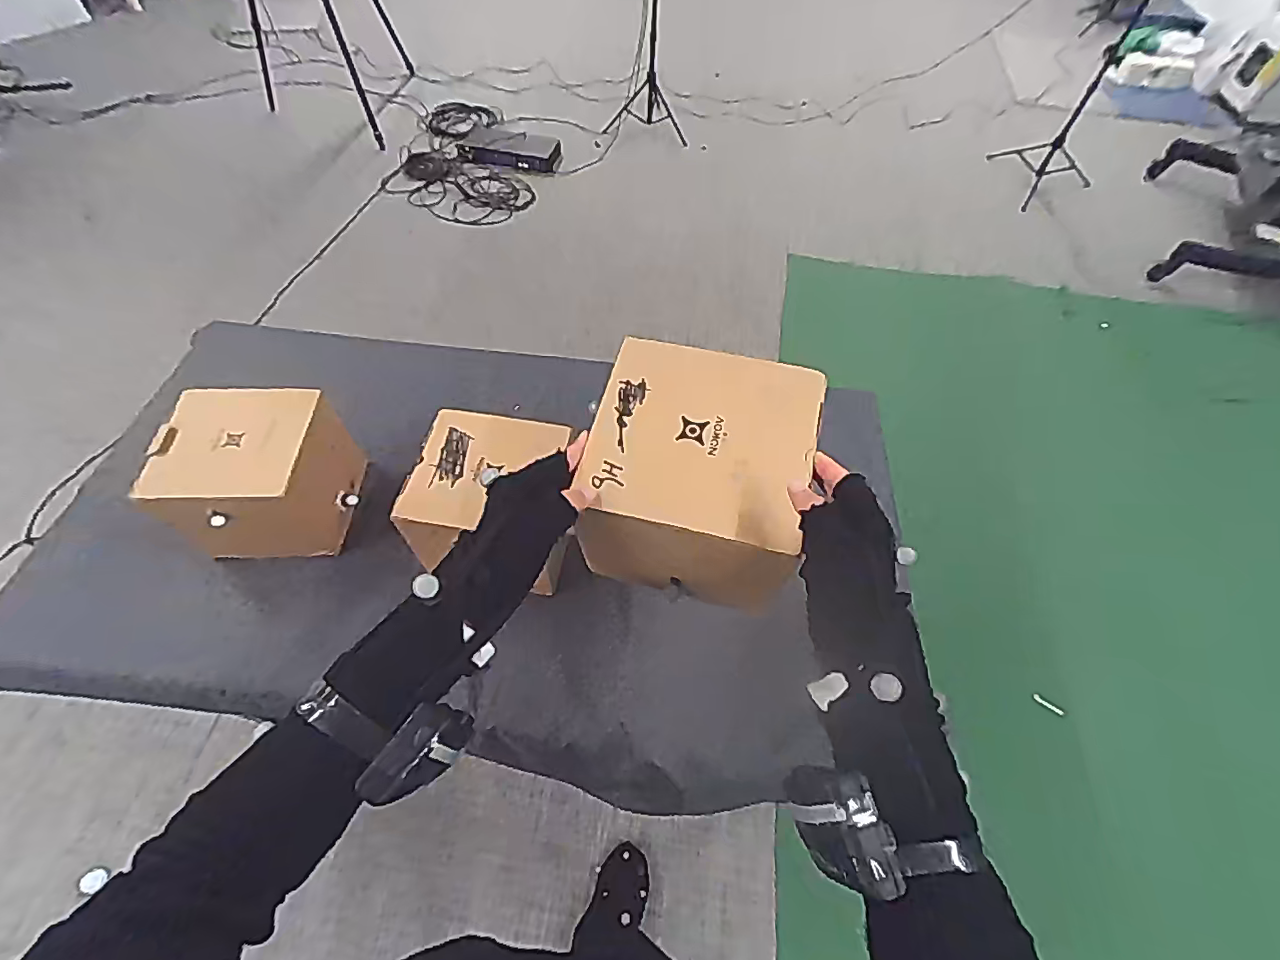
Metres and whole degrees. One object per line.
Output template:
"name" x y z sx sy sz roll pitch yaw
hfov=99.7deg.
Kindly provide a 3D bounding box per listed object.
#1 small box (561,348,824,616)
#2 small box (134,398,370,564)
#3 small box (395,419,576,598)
"small box" 0.047 0.012 0.490 0.179 0.176 0.168 13 63 8
"small box" -0.500 0.006 0.731 0.179 0.176 0.168 -1 58 -4
"small box" -0.186 0.043 0.718 0.179 0.176 0.168 8 57 2
